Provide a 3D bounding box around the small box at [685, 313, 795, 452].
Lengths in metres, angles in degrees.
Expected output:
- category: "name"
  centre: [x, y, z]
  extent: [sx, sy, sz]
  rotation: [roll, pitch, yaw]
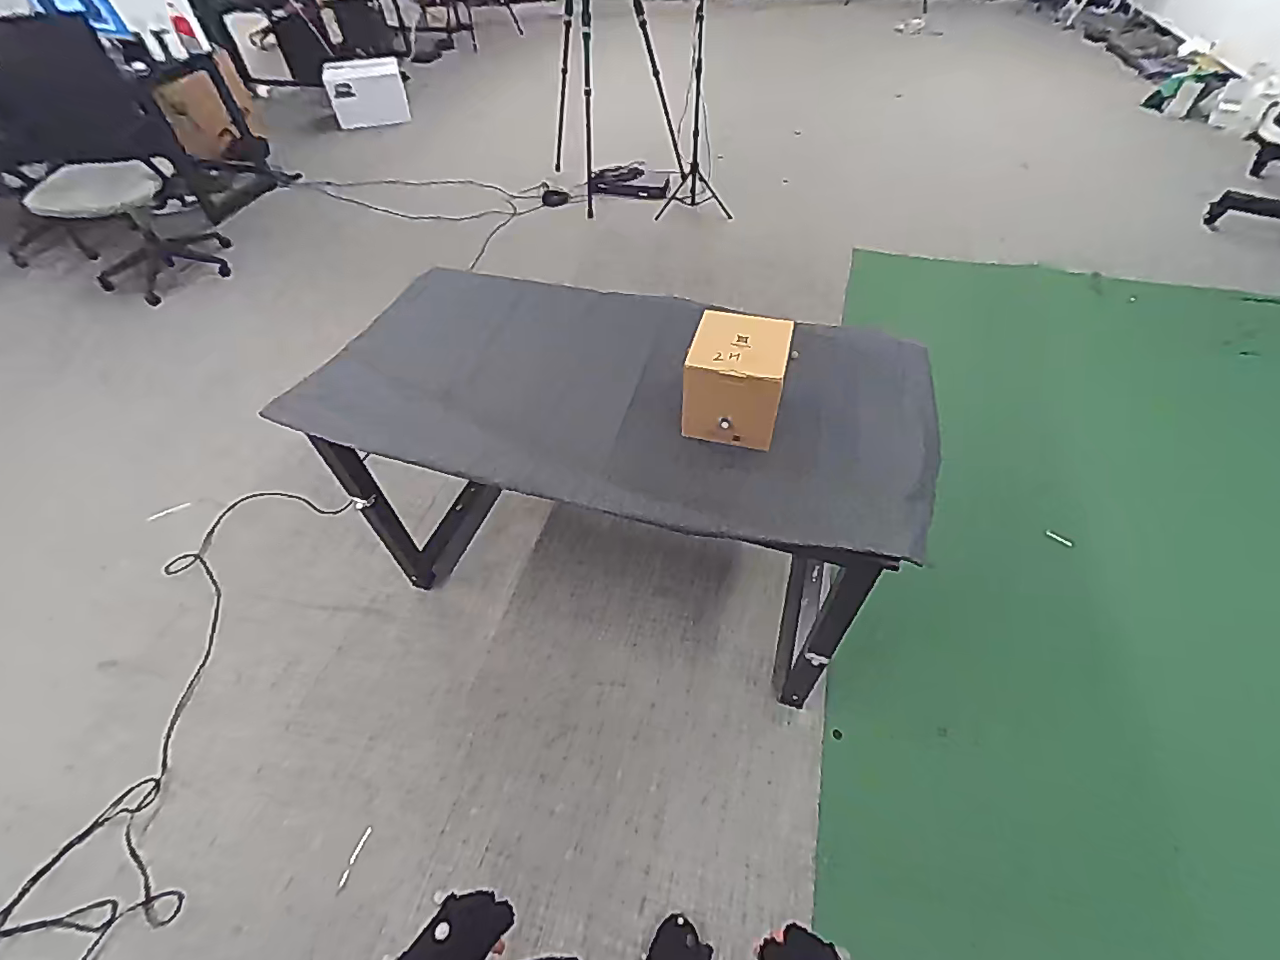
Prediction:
- category: "small box"
  centre: [0.180, -0.181, 1.001]
  extent: [0.168, 0.176, 0.179]
  rotation: [11, 51, 12]
